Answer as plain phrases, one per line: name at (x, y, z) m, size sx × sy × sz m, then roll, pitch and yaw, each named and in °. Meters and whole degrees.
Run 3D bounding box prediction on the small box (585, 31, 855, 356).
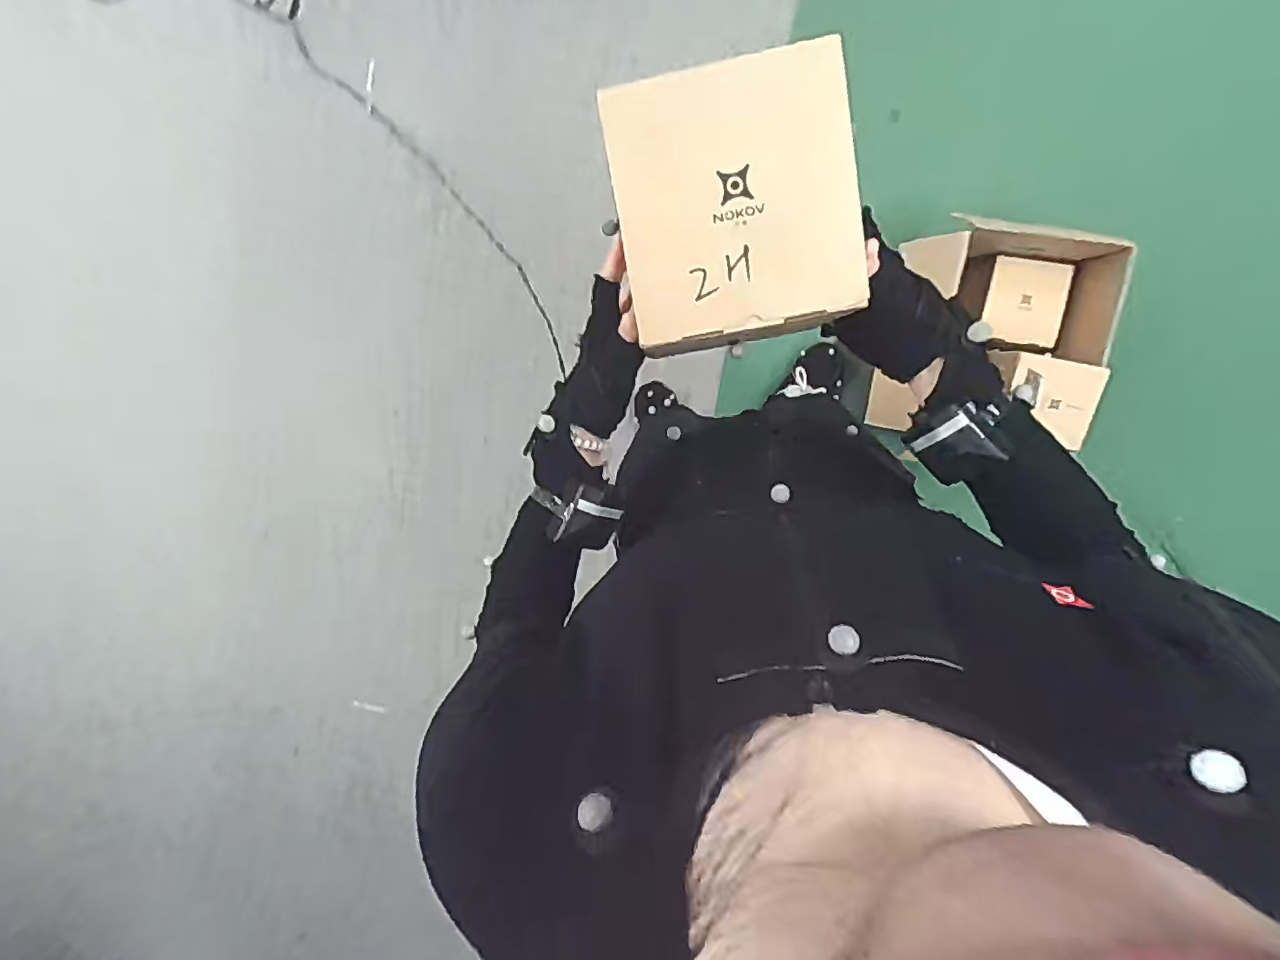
small box at (0.060, -0.207, 0.447) m, size 0.168 × 0.176 × 0.179 m, roll -10°, pitch 99°, yaw 6°
